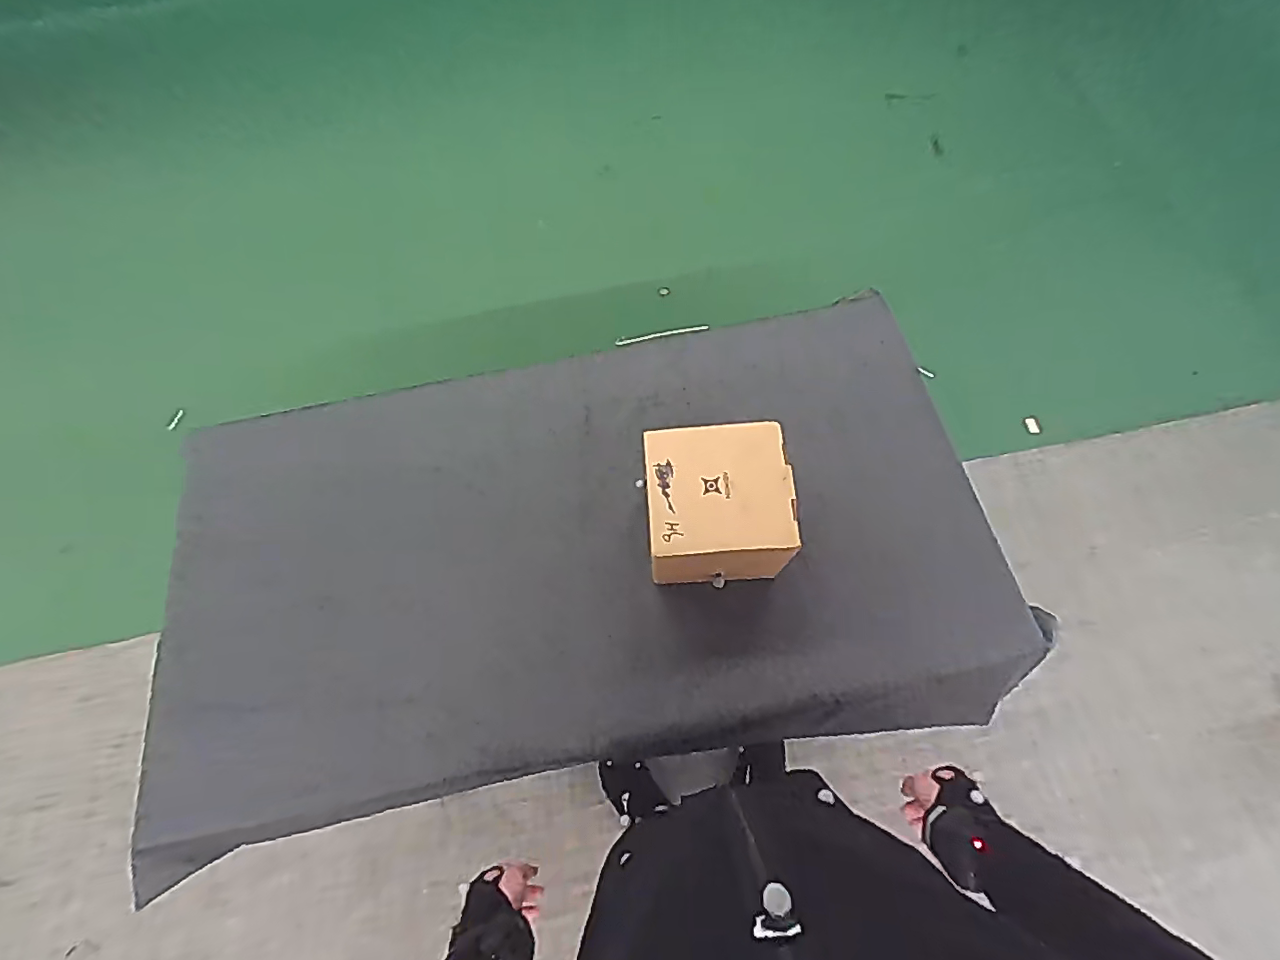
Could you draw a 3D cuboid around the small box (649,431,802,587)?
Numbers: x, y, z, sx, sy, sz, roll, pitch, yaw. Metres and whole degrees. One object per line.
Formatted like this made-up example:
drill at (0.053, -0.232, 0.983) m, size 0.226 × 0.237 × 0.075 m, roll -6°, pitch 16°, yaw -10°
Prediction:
small box at (0.102, 0.046, 0.732) m, size 0.179 × 0.176 × 0.168 m, roll -3°, pitch 68°, yaw 1°
